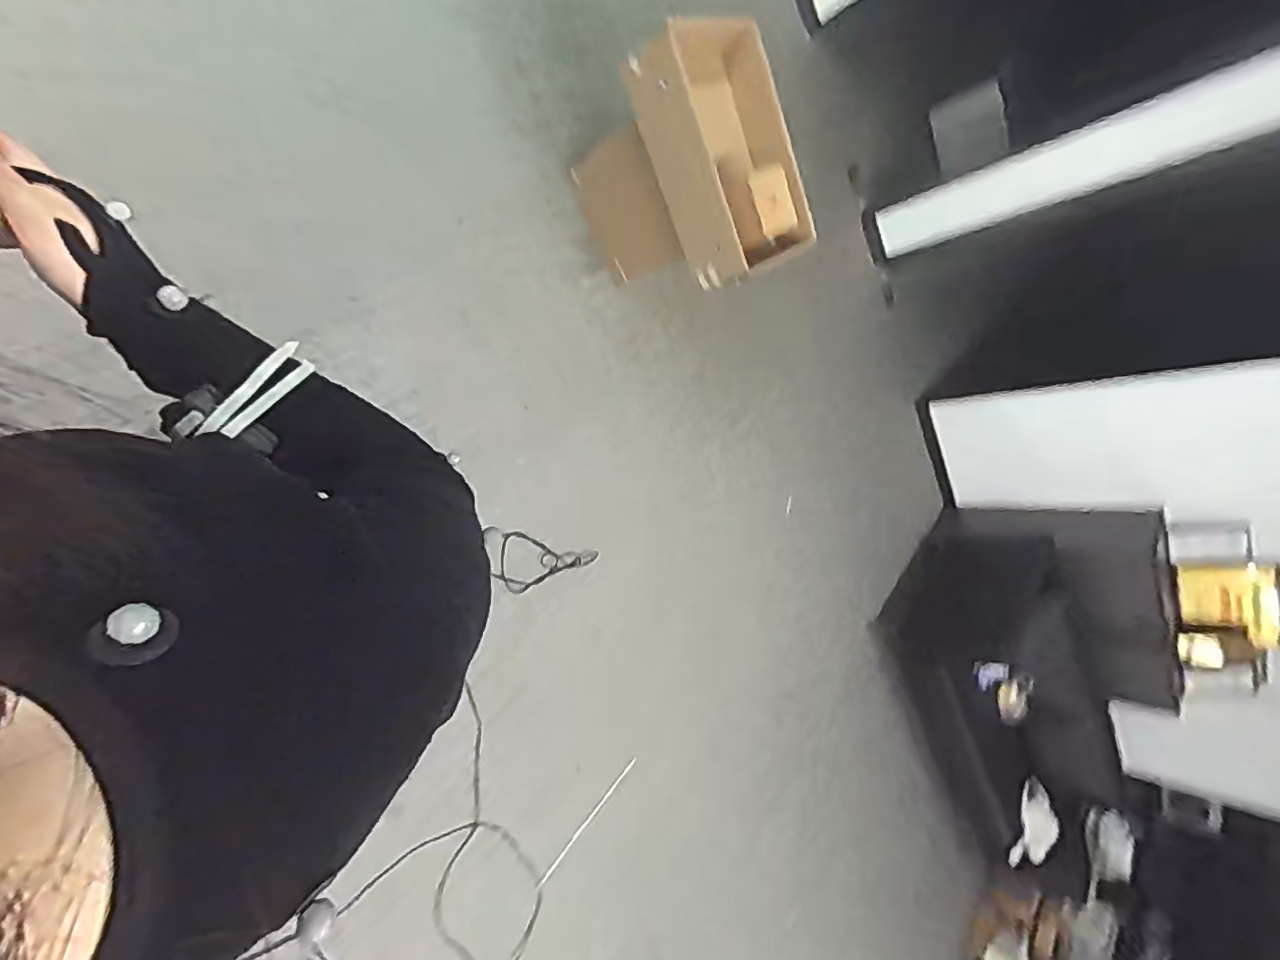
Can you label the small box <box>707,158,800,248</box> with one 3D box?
[{"bbox_3d":[0.322,-0.784,1.539,0.179,0.176,0.168,-35,111,-33],"label":"small box"}]
